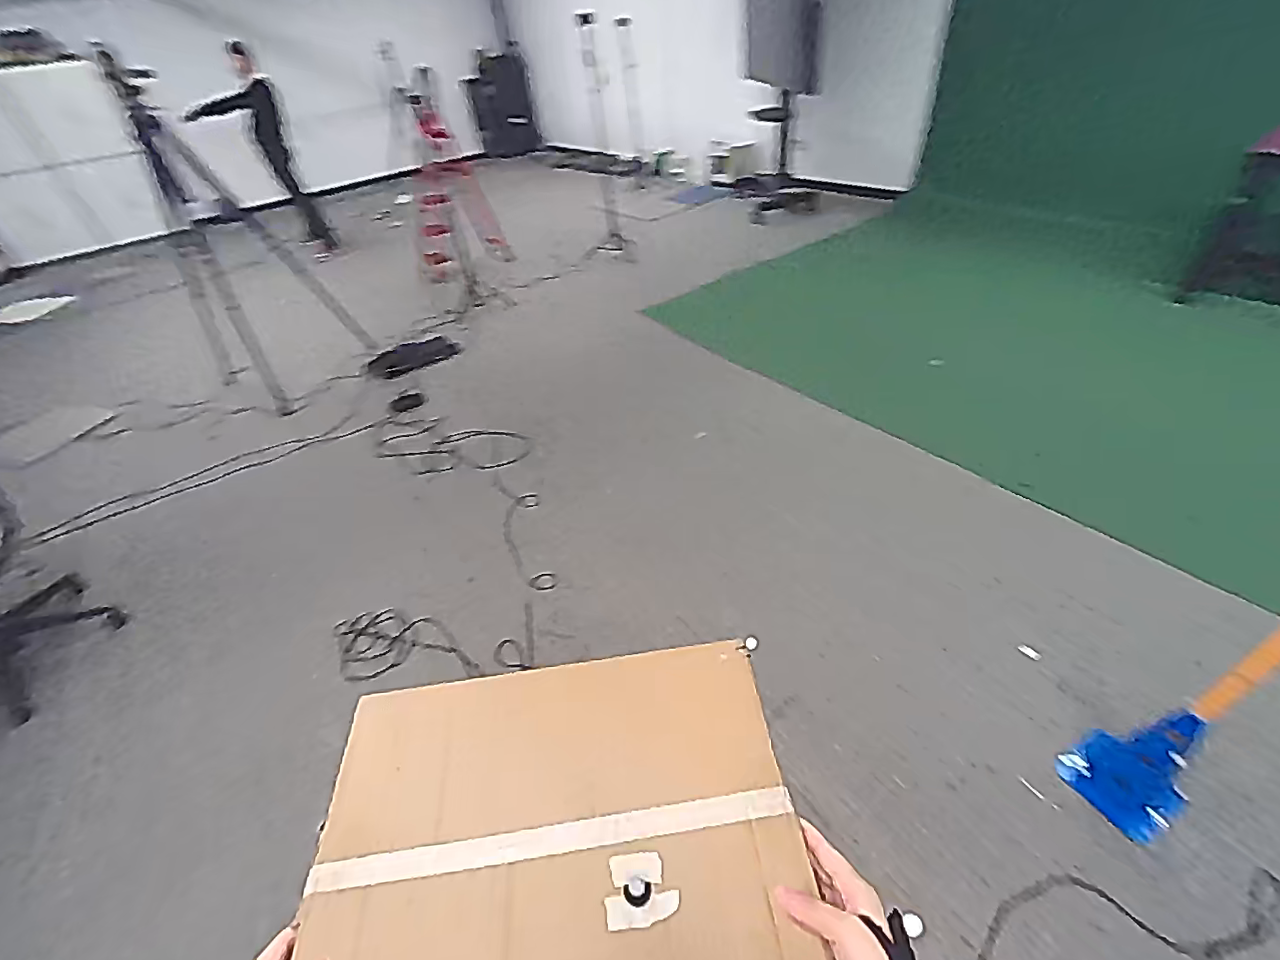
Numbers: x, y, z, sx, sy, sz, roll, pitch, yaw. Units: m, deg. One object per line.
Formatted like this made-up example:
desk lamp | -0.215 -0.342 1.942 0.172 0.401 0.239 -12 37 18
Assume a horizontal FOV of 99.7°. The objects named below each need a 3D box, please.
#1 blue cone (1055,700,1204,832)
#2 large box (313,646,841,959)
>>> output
blue cone | 1.137 0.608 1.217 0.192 0.380 0.193 -22 42 -18
large box | -0.053 0.414 0.566 0.408 0.320 0.320 -6 44 -2
